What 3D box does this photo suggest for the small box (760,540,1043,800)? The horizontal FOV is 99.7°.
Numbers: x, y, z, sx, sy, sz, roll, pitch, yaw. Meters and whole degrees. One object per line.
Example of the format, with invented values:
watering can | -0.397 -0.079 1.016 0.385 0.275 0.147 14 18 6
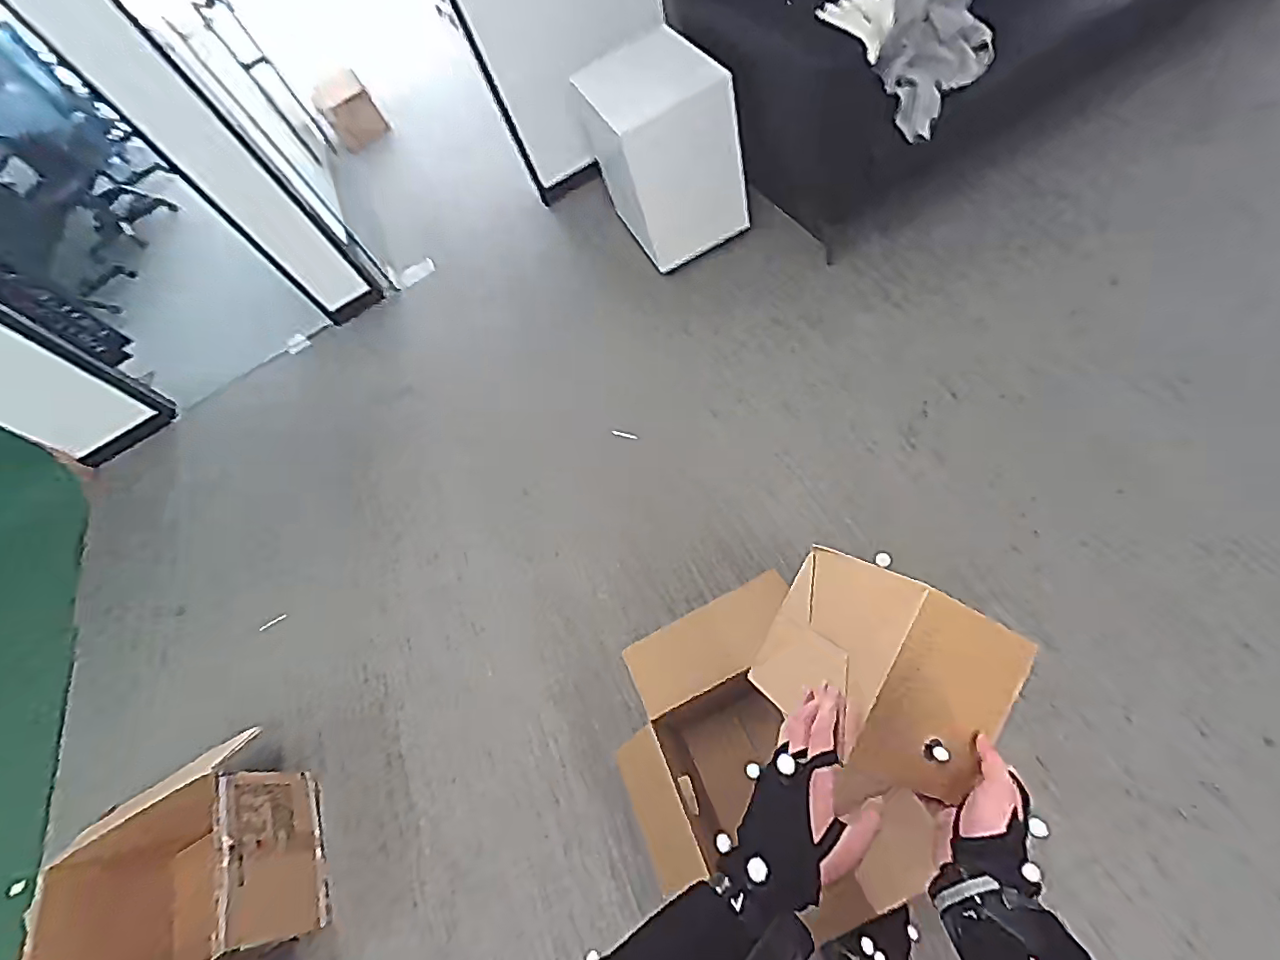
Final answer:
small box | 0.256 0.186 0.564 0.179 0.176 0.168 -65 21 1
